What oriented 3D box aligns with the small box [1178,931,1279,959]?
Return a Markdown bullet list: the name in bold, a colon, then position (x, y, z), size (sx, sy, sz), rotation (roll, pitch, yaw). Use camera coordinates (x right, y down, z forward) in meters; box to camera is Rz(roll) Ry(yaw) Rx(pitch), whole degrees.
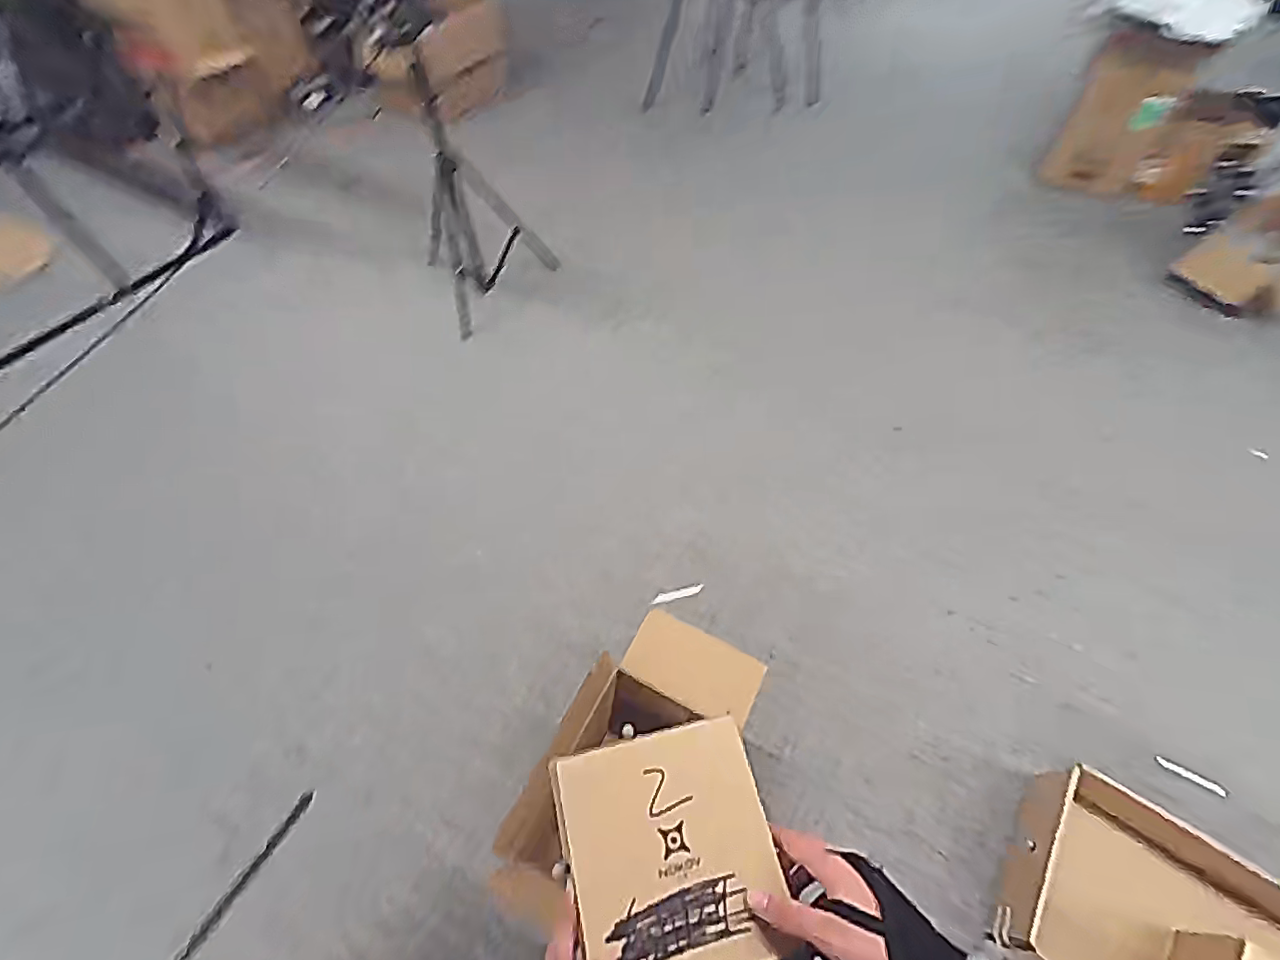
- **small box**: position (1.121, 0.971, 0.979), size (0.168, 0.176, 0.179), rotation (37, 64, 25)
